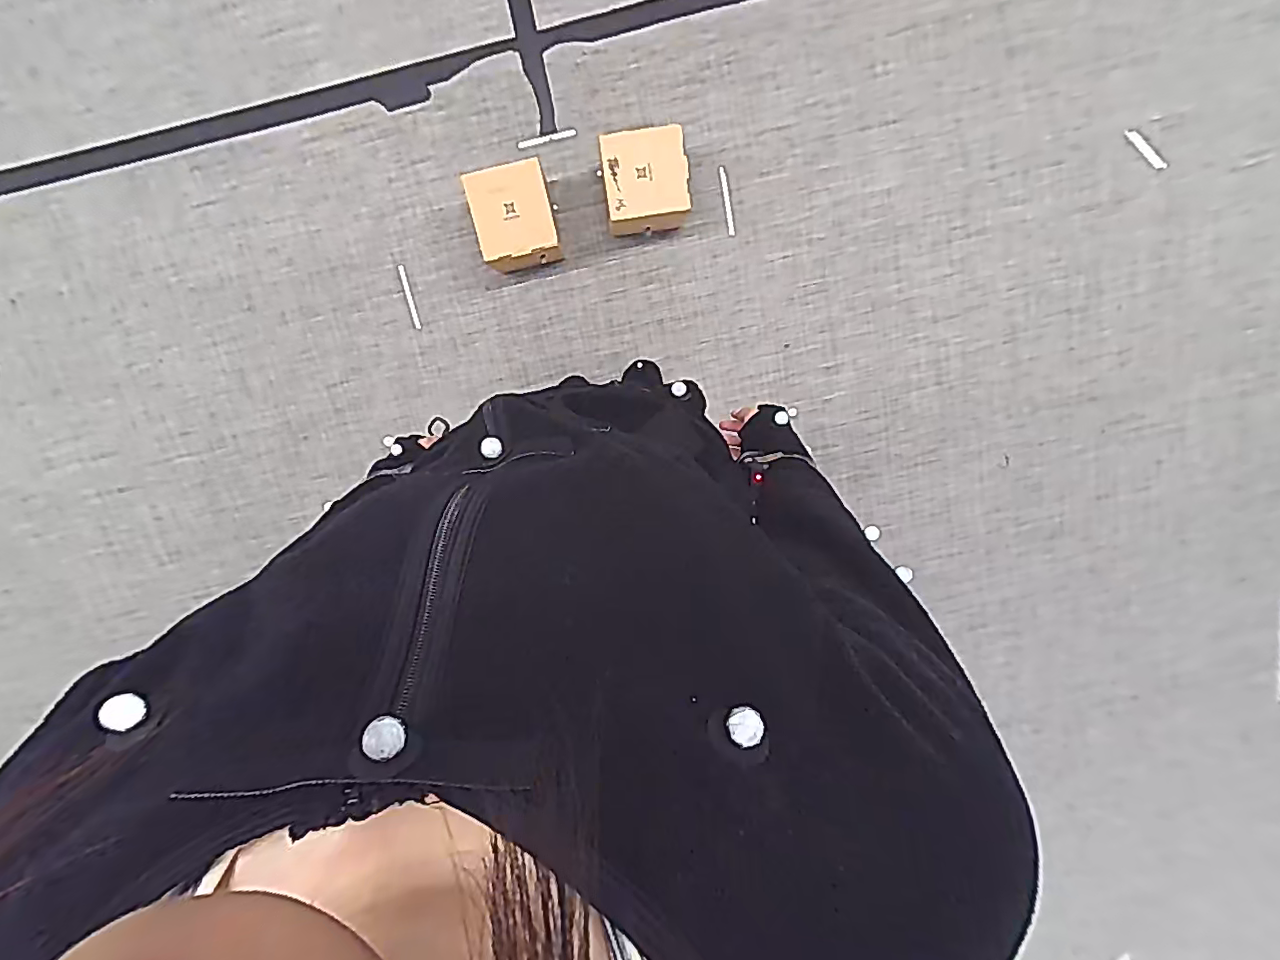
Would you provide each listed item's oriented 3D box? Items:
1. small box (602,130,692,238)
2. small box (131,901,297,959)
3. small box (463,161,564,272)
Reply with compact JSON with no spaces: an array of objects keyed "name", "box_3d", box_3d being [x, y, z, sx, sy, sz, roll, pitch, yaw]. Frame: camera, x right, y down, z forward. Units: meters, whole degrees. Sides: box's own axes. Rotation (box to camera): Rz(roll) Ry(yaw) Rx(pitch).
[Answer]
[{"name":"small box","box_3d":[0.011,-0.649,1.203,0.179,0.176,0.168,-8,104,-2]},{"name":"small box","box_3d":[-0.617,0.734,0.745,0.179,0.176,0.168,-12,105,1]},{"name":"small box","box_3d":[-0.272,-0.576,1.208,0.168,0.176,0.179,-14,102,0]}]
